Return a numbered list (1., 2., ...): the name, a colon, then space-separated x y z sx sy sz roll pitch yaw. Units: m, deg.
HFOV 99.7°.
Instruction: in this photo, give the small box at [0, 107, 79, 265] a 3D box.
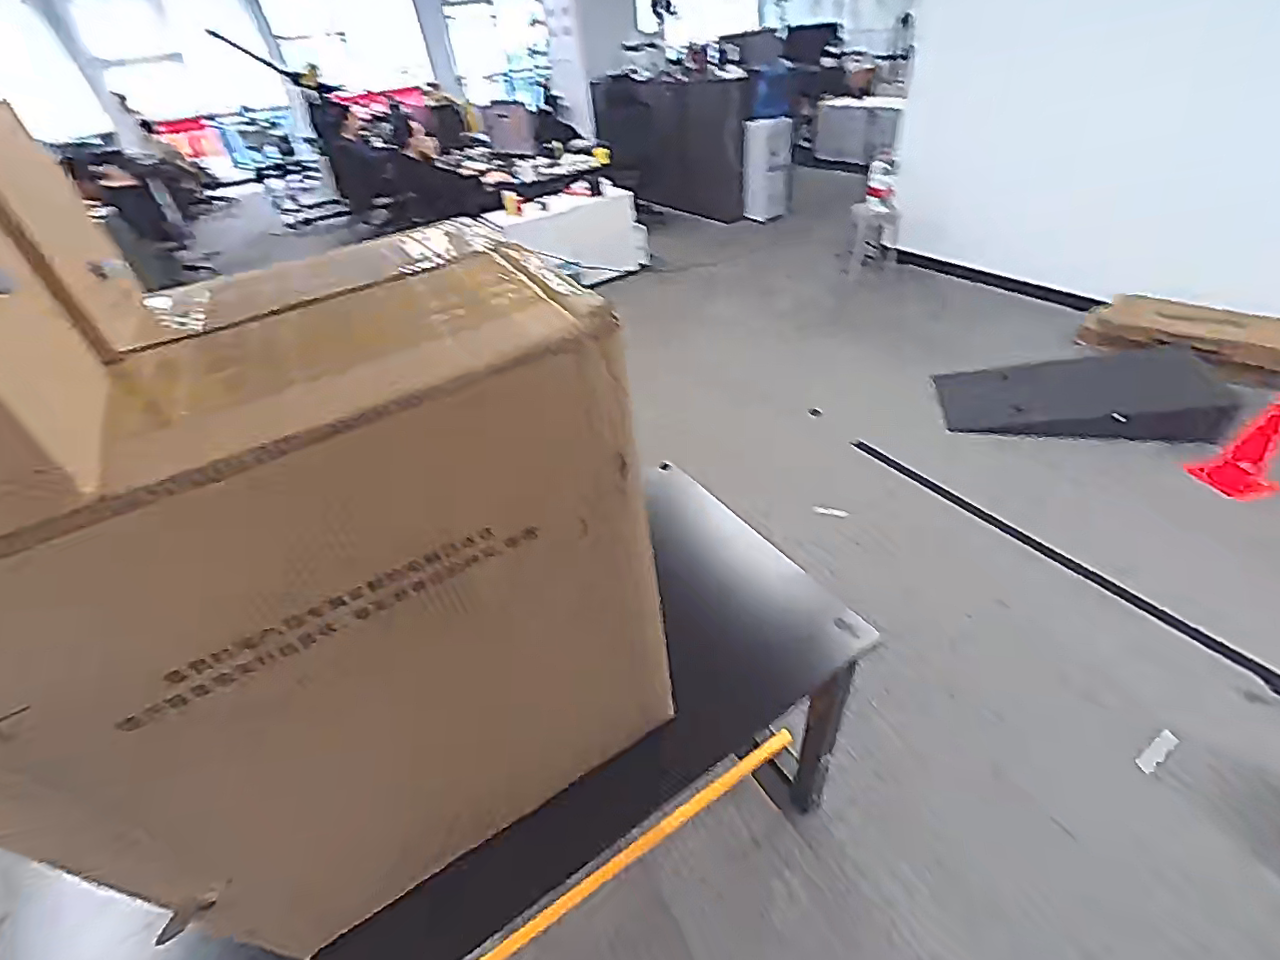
1. small box: -0.496 -0.199 0.305 0.179 0.176 0.168 -24 41 -21
